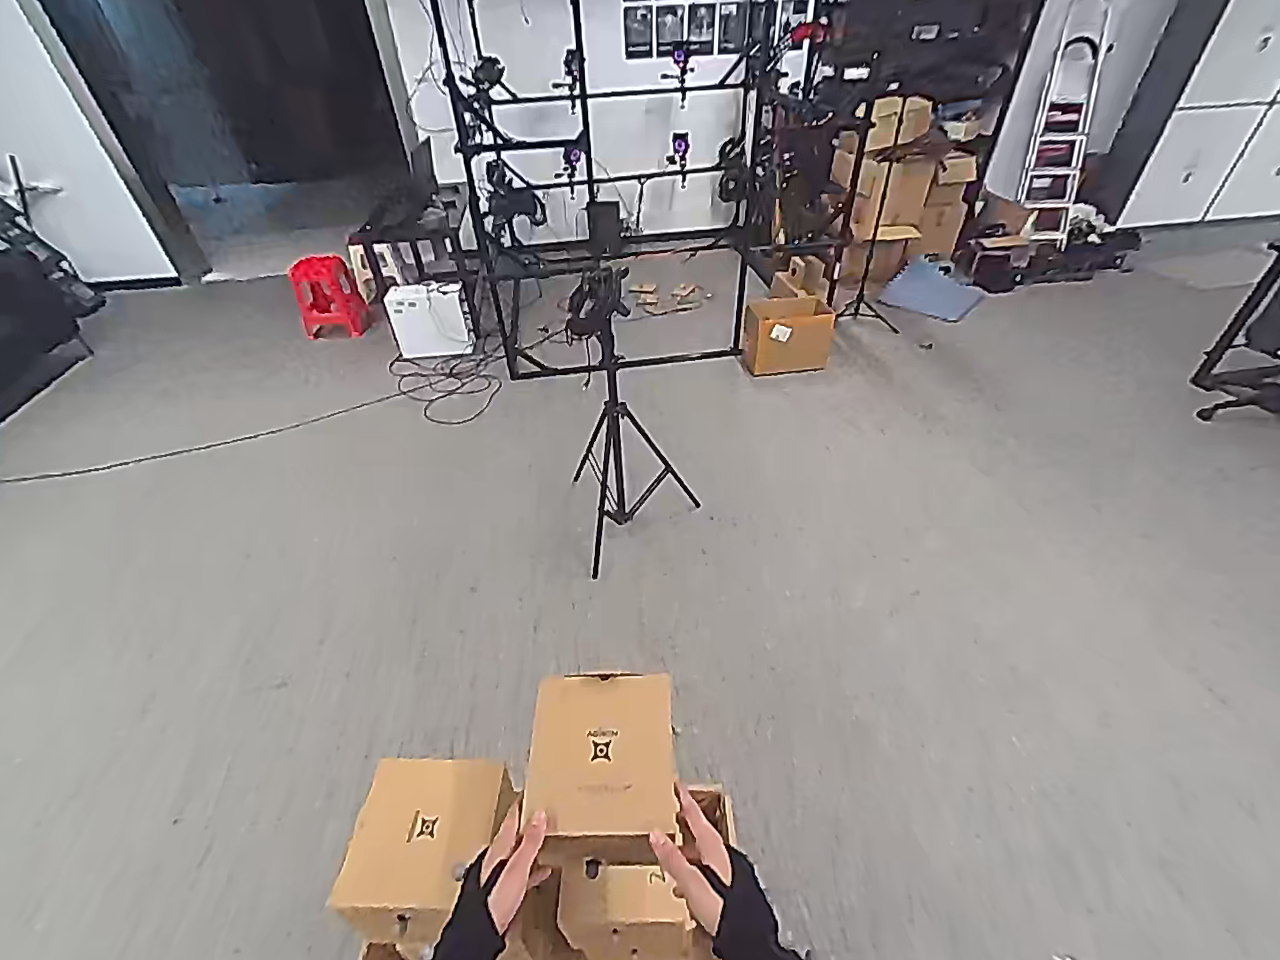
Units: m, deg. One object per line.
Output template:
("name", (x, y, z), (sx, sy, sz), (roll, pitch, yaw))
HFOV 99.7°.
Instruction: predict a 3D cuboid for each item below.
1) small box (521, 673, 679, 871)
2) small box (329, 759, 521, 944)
("small box", (-0.039, 0.360, 0.670), (0.168, 0.176, 0.179), (-2, 44, 2))
("small box", (-0.265, 0.495, 0.722), (0.179, 0.176, 0.168), (0, 39, 1))
